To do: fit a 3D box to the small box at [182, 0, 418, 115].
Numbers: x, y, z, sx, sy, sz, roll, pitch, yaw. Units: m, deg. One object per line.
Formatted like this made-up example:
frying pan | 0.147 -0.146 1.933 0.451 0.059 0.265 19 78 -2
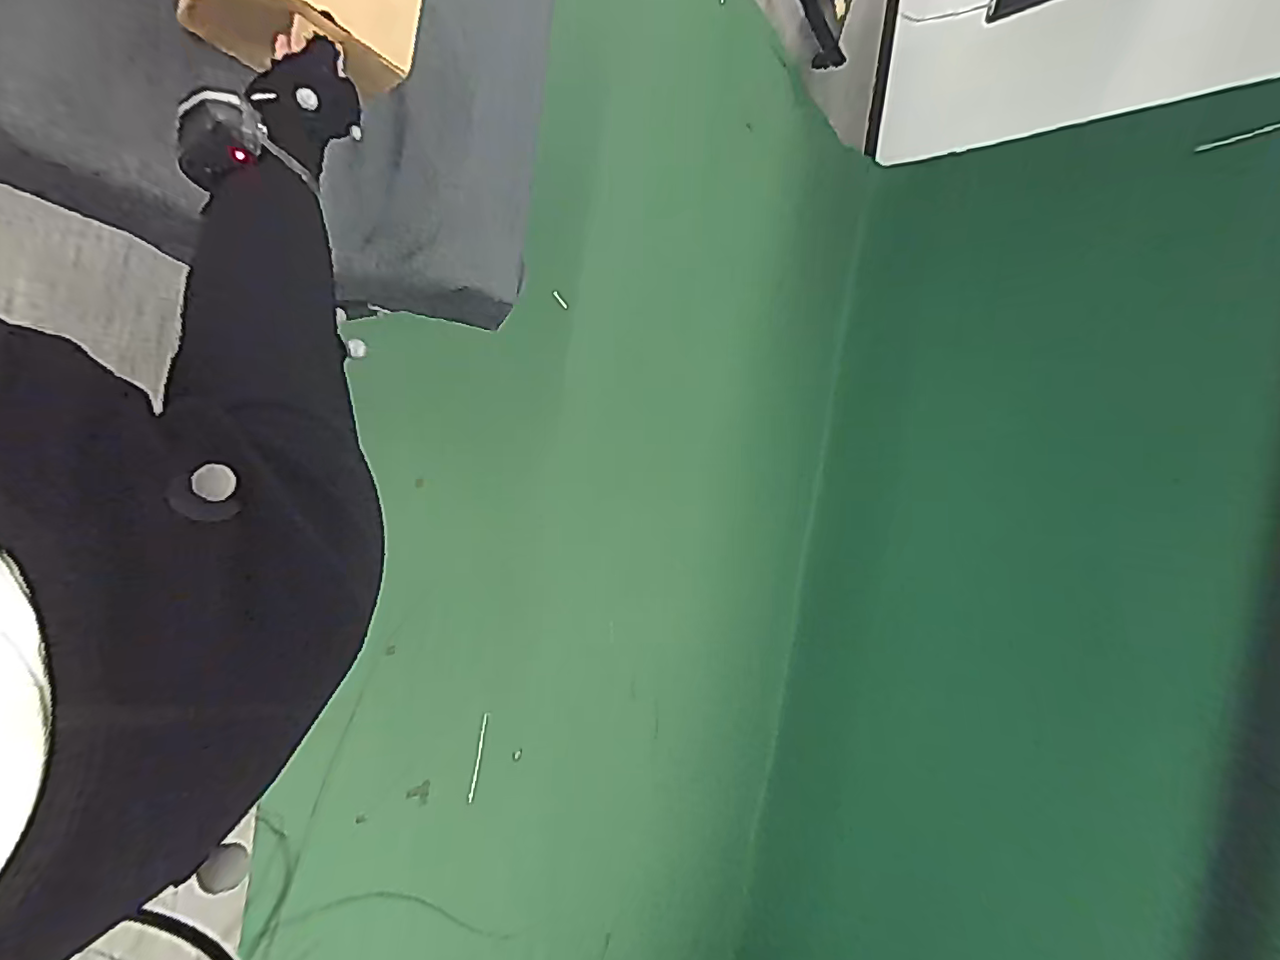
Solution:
small box | -0.352 -0.531 0.568 0.168 0.176 0.179 9 91 -52
